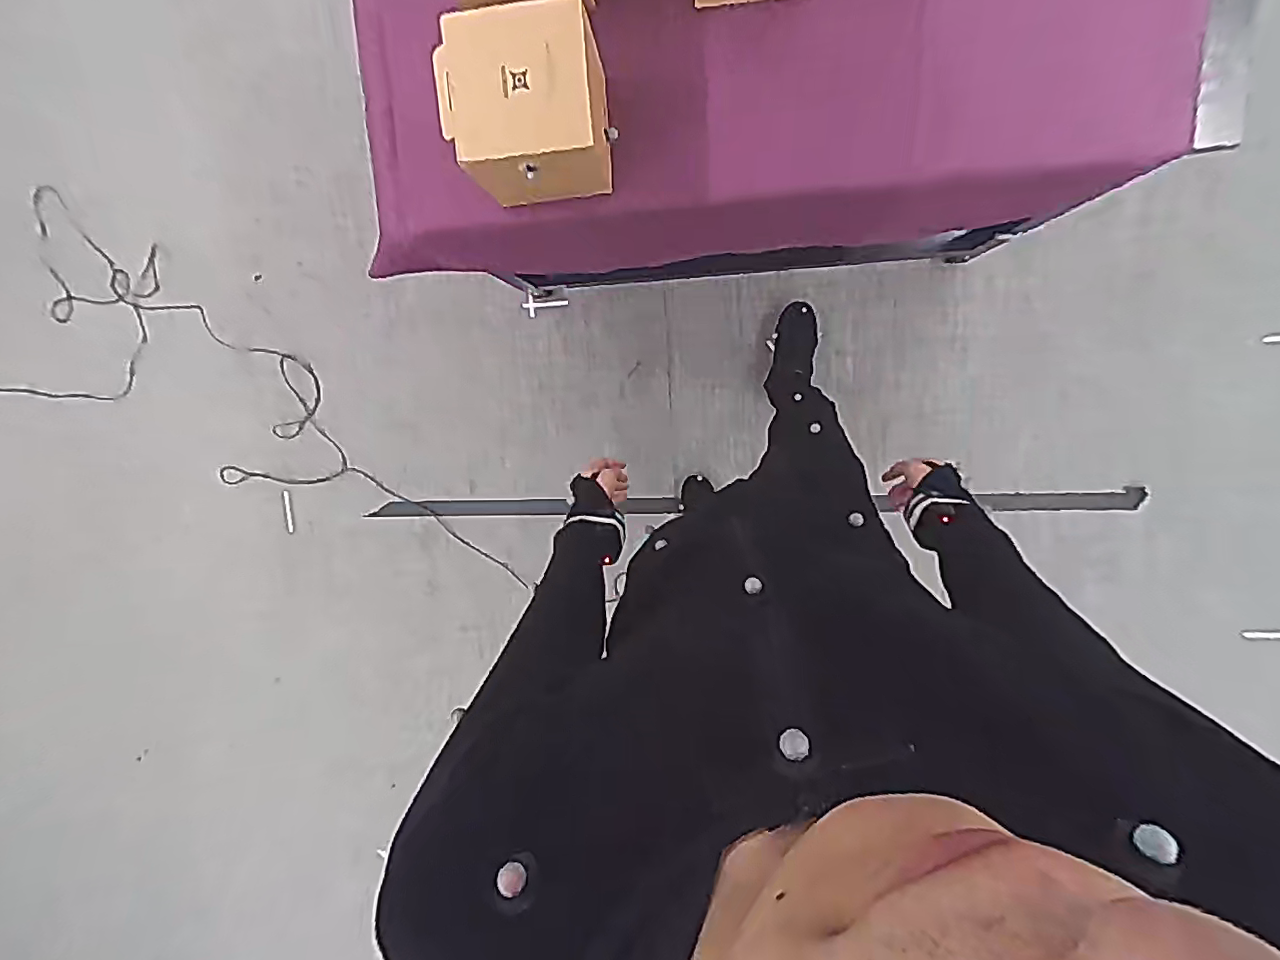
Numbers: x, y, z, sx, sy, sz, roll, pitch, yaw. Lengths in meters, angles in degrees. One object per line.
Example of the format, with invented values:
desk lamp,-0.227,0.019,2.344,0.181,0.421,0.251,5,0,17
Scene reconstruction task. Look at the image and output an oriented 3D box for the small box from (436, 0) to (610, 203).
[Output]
small box,-0.143,-0.489,0.723,0.179,0.176,0.168,-3,99,6
